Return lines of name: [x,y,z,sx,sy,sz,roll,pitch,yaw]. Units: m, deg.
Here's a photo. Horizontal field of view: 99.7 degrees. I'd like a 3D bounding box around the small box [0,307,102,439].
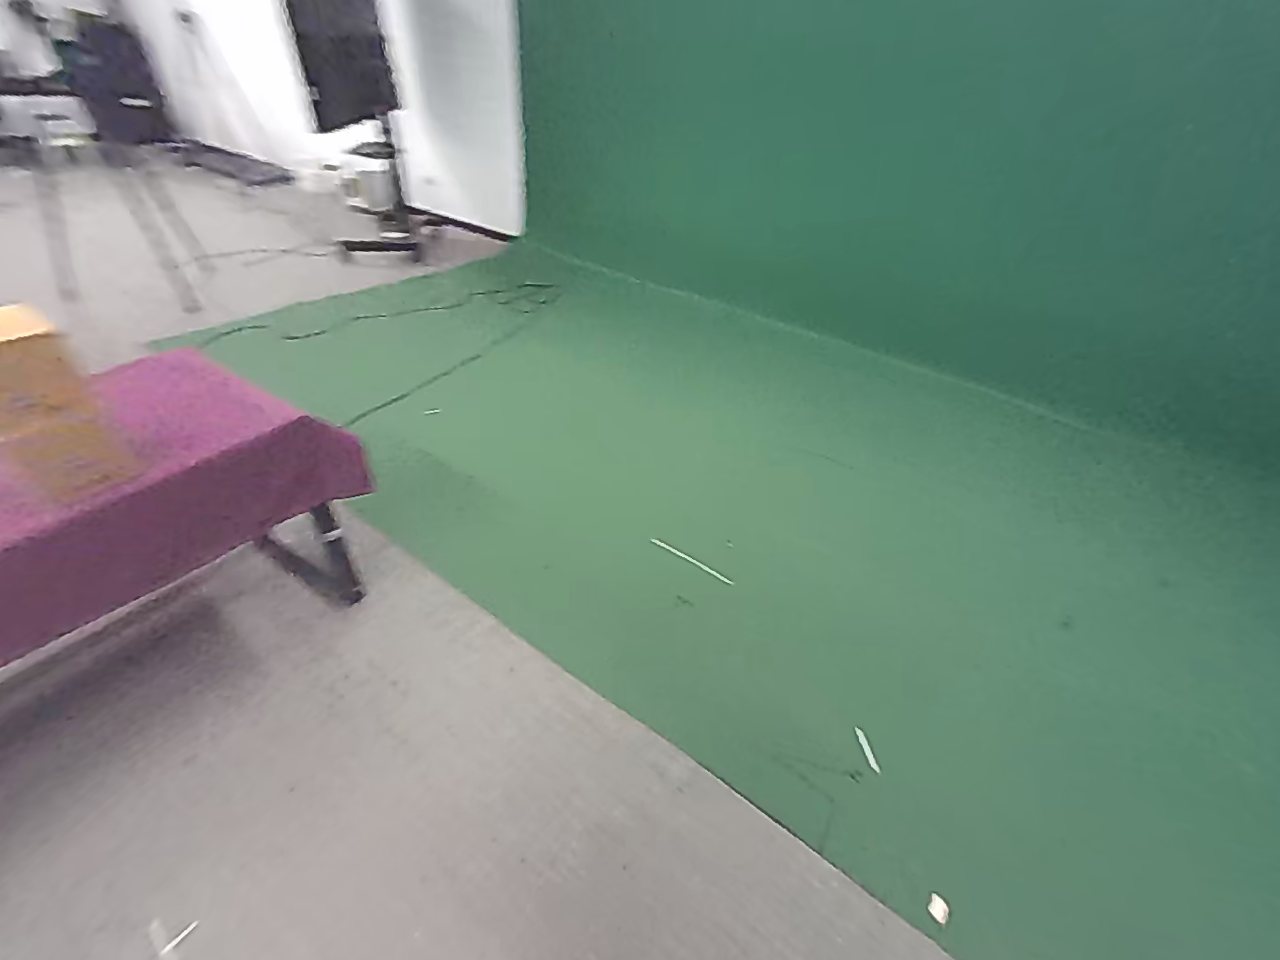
small box: [-1.179,-0.200,1.011,0.179,0.176,0.168,27,43,23]
